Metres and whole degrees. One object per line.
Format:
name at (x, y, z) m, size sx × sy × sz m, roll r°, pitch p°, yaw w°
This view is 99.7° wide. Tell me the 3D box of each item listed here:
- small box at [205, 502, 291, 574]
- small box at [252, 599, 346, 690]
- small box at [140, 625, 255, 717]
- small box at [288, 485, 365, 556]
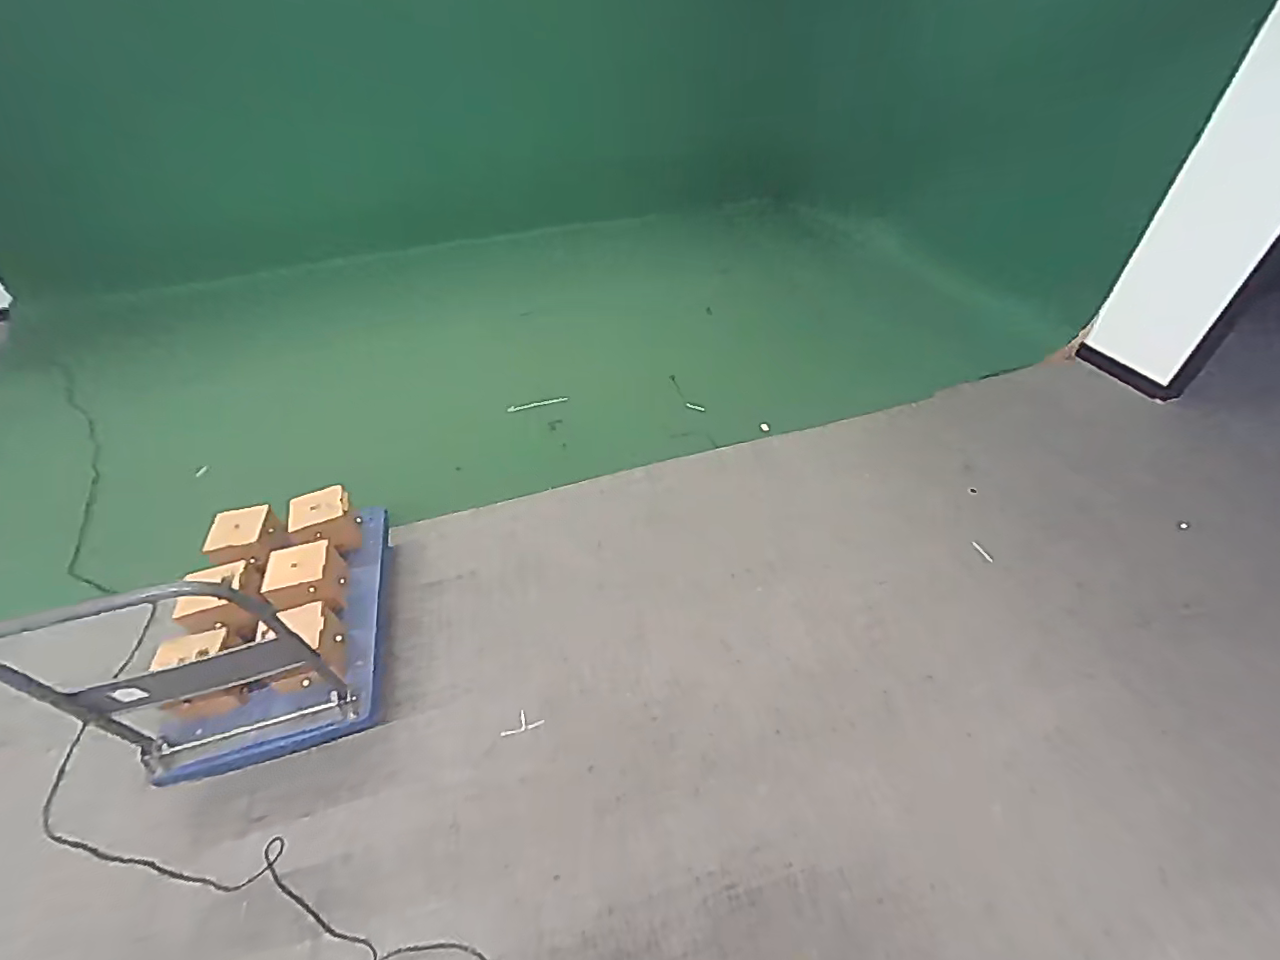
small box at (-1.347, 0.207, 1.875) m, size 0.168 × 0.176 × 0.179 m, roll -10°, pitch 45°, yaw -8°
small box at (-0.977, 0.479, 1.569) m, size 0.179 × 0.176 × 0.168 m, roll -15°, pitch 45°, yaw -12°
small box at (-1.229, 0.539, 1.525) m, size 0.179 × 0.176 × 0.168 m, roll -12°, pitch 44°, yaw -8°
small box at (-1.105, 0.146, 1.915) m, size 0.179 × 0.176 × 0.168 m, roll -12°, pitch 48°, yaw -10°
